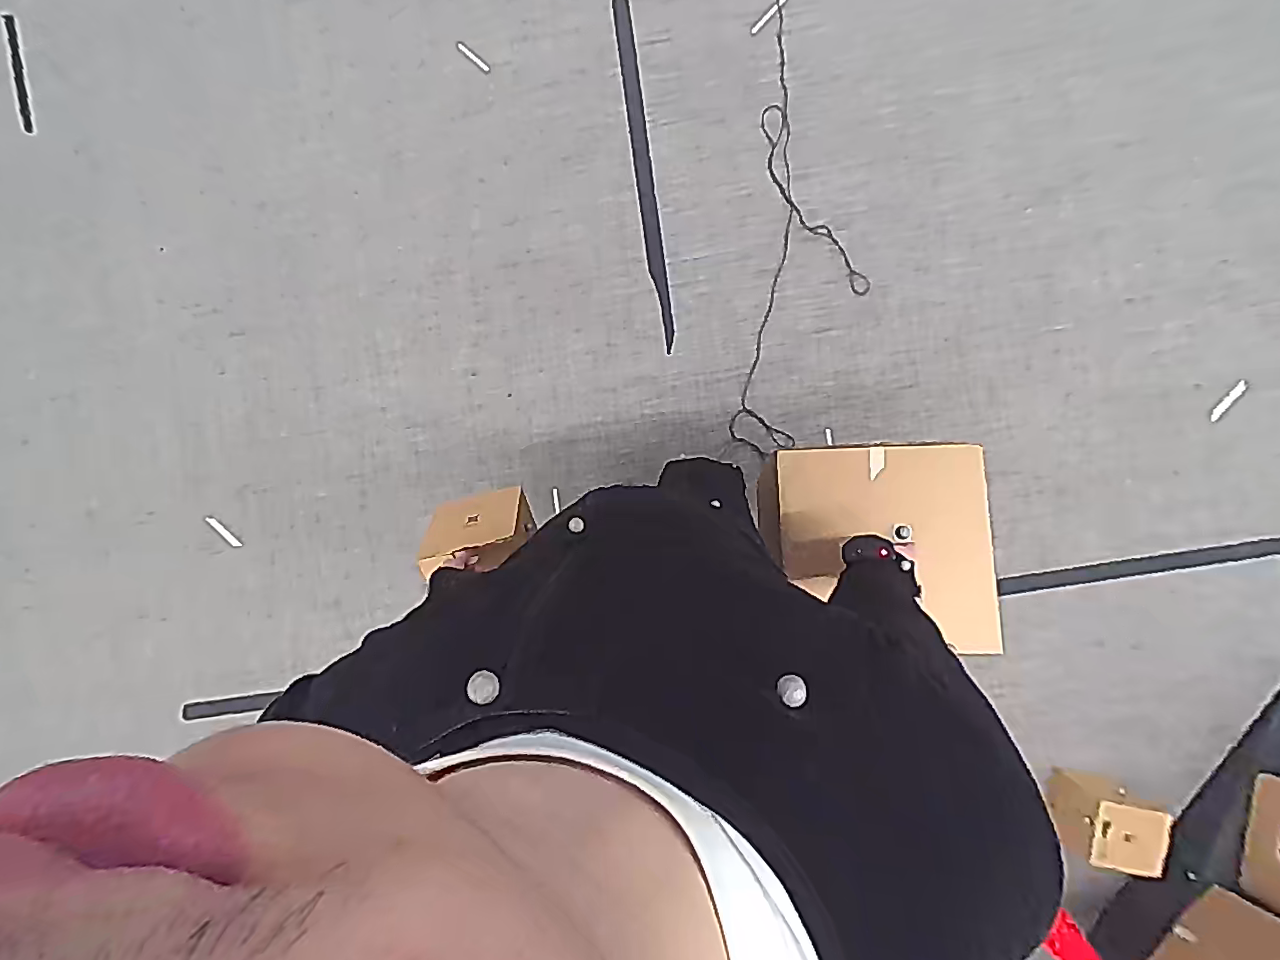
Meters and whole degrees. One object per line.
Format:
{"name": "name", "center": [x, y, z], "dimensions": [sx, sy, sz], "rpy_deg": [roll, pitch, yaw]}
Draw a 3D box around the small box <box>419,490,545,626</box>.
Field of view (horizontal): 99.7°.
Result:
{"name": "small box", "center": [-0.277, 0.147, 0.994], "dimensions": [0.168, 0.179, 0.176], "rpy_deg": [-13, 118, -1]}
